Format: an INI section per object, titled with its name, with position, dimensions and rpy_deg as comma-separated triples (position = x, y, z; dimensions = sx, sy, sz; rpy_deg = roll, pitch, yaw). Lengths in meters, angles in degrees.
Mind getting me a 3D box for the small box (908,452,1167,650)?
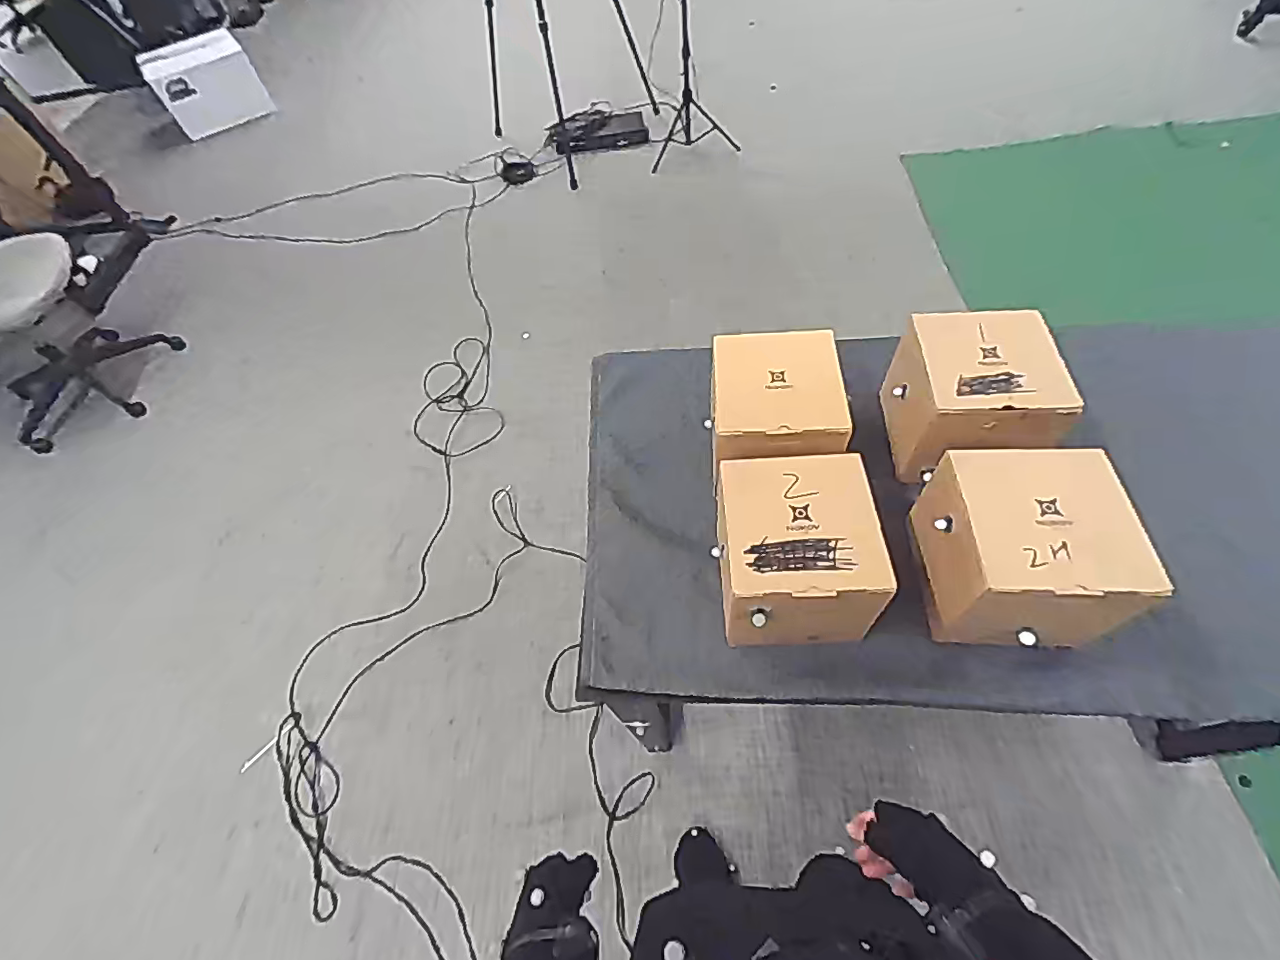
[small box]
position = 0.436, 0.085, 0.636
dimensions = 0.168, 0.176, 0.179
rpy_deg = 0, 57, 7
